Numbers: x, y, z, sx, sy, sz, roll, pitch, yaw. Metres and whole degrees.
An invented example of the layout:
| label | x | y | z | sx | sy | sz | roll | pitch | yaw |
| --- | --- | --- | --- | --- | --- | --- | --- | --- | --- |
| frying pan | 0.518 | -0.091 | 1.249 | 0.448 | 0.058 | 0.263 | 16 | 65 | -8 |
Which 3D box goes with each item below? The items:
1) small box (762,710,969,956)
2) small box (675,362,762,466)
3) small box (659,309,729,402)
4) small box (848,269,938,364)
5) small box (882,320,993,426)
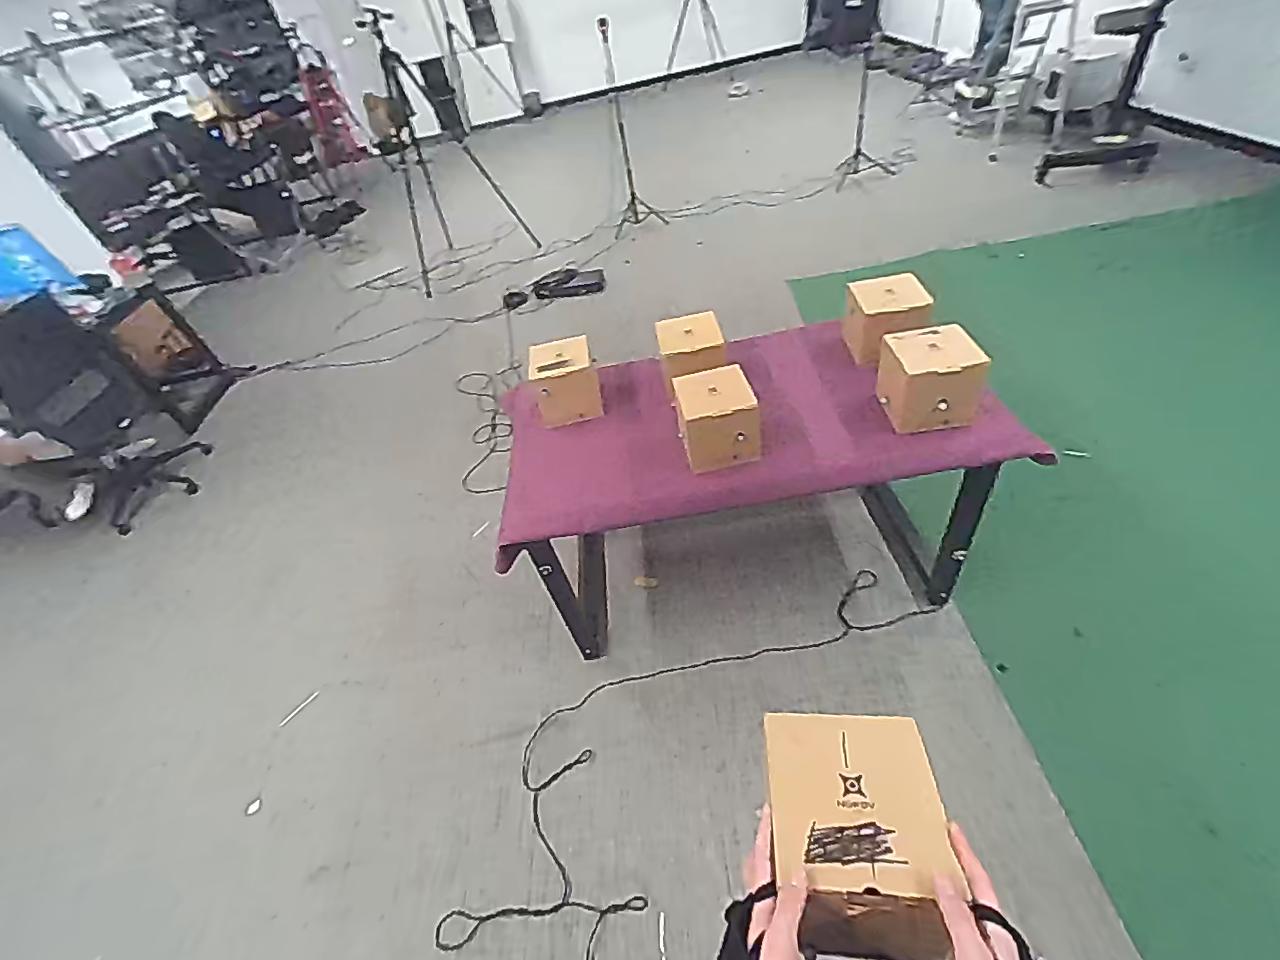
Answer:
| label | x | y | z | sx | sy | sz | roll | pitch | yaw |
| --- | --- | --- | --- | --- | --- | --- | --- | --- | --- |
| small box | 0.223 | 0.376 | 0.583 | 0.168 | 0.176 | 0.179 | -4 | 34 | 10 |
| small box | 0.187 | -0.149 | 1.282 | 0.168 | 0.176 | 0.179 | -12 | 43 | 2 |
| small box | 0.150 | -0.340 | 1.484 | 0.168 | 0.176 | 0.179 | -11 | 45 | 4 |
| small box | 0.660 | -0.432 | 1.433 | 0.168 | 0.176 | 0.179 | -8 | 45 | 9 |
| small box | 0.667 | -0.237 | 1.236 | 0.168 | 0.176 | 0.179 | -7 | 44 | 9 |
